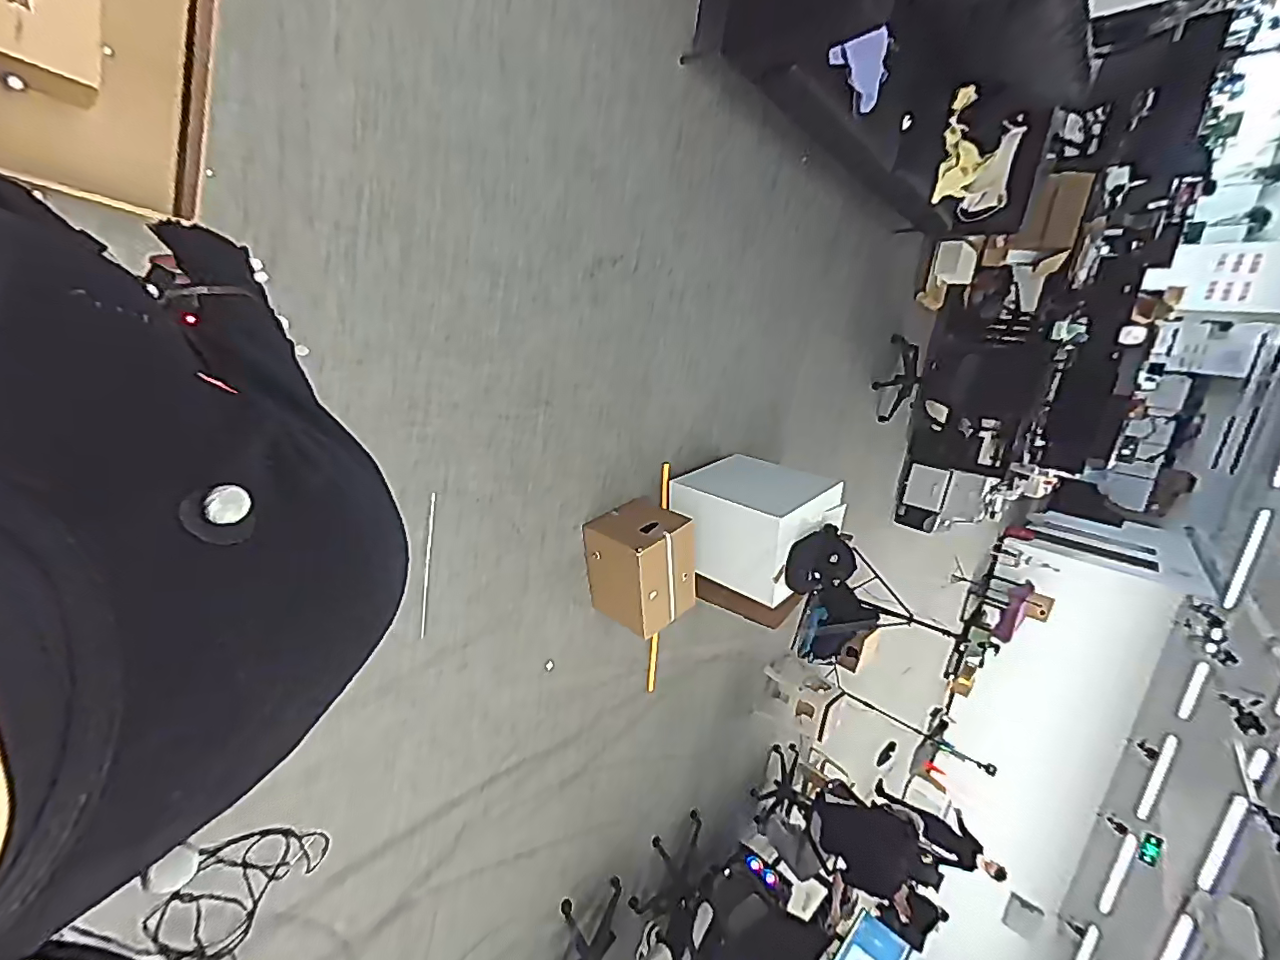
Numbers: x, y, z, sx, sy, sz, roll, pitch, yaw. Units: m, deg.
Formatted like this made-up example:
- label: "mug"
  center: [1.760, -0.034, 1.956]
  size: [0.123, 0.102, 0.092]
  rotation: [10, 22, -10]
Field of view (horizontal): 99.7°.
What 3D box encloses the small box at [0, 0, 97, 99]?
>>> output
- label: "small box"
  center: [-0.924, -0.708, 0.796]
  size: [0.168, 0.176, 0.179]
  rotation: [-1, 105, -49]
